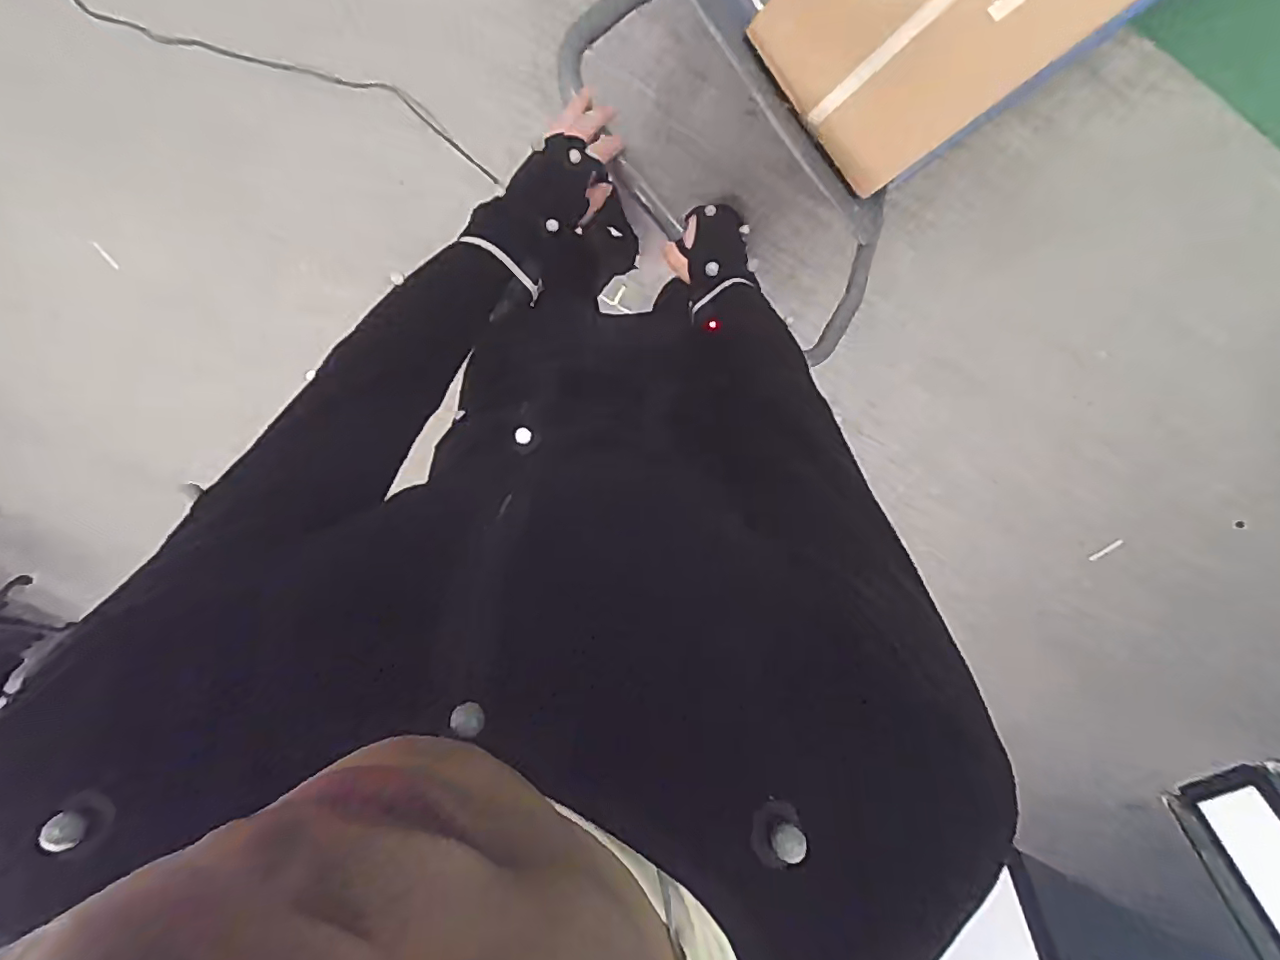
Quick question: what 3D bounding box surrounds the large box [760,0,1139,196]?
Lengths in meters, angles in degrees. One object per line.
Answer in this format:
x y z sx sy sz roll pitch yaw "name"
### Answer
0.450 -0.726 0.794 0.320 0.320 0.408 43 137 -20 "large box"
